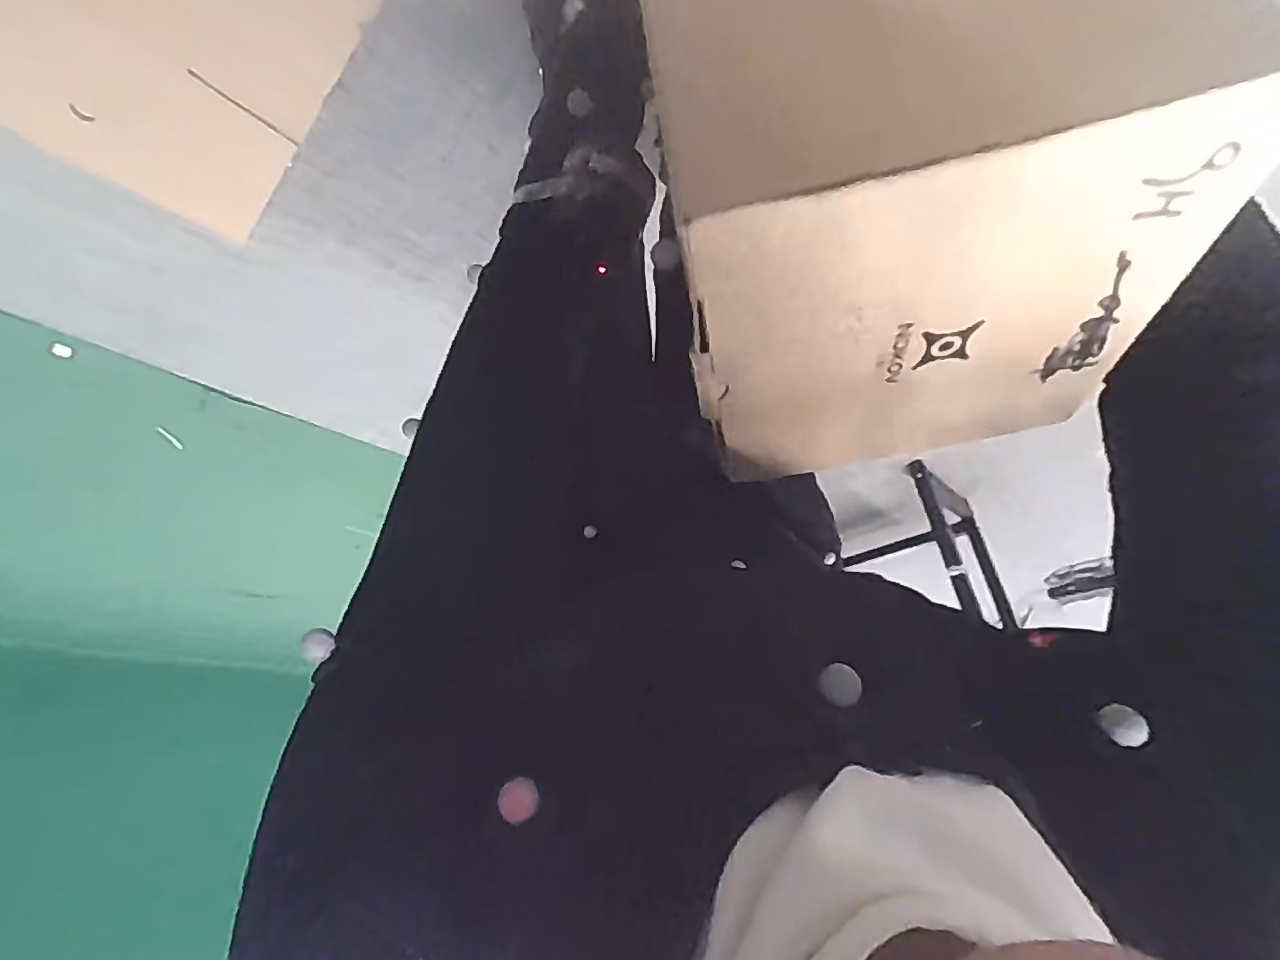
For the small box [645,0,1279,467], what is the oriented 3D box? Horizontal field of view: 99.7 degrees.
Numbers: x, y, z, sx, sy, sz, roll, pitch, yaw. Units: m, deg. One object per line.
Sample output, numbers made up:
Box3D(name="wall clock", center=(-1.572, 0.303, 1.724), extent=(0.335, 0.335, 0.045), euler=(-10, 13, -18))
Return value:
Box3D(name="small box", center=(0.104, -0.132, 0.258), extent=(0.179, 0.176, 0.168), euler=(-12, 147, 12))
